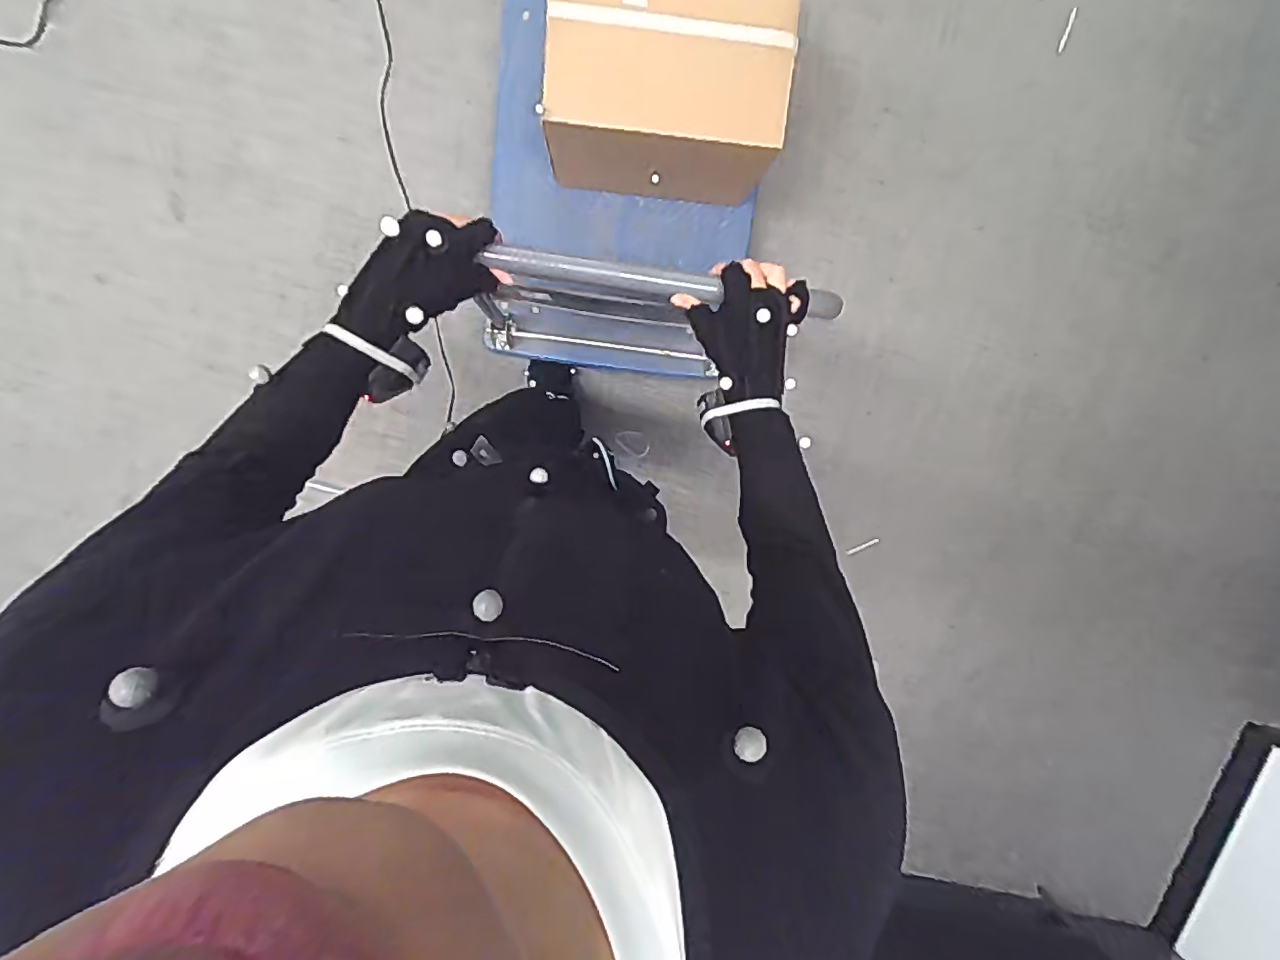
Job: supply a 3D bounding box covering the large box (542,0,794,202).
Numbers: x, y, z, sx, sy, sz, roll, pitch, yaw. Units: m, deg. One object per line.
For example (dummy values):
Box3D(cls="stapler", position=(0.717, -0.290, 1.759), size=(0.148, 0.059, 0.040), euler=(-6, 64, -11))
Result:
Box3D(cls="large box", position=(0.042, -0.748, 1.017), size=(0.408, 0.320, 0.320), euler=(5, 99, -4))
